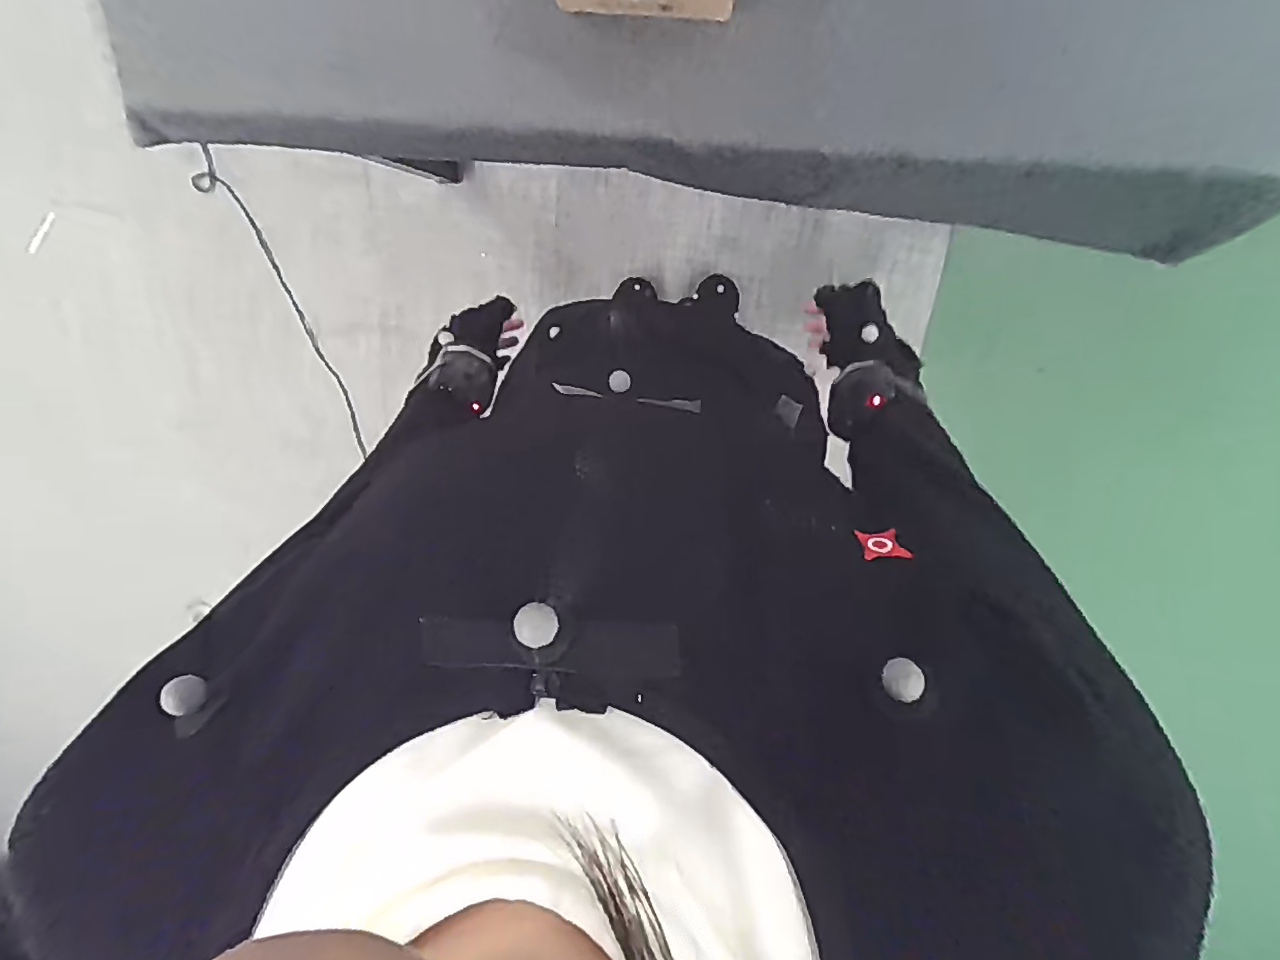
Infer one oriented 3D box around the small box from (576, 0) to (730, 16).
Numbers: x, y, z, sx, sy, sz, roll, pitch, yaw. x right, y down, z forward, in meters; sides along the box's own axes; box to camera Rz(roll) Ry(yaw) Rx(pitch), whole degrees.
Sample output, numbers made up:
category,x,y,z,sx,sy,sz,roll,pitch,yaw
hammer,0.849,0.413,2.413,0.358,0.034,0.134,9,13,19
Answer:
category,x,y,z,sx,sy,sz,roll,pitch,yaw
small box,0.003,-0.495,0.414,0.168,0.176,0.179,6,112,4
